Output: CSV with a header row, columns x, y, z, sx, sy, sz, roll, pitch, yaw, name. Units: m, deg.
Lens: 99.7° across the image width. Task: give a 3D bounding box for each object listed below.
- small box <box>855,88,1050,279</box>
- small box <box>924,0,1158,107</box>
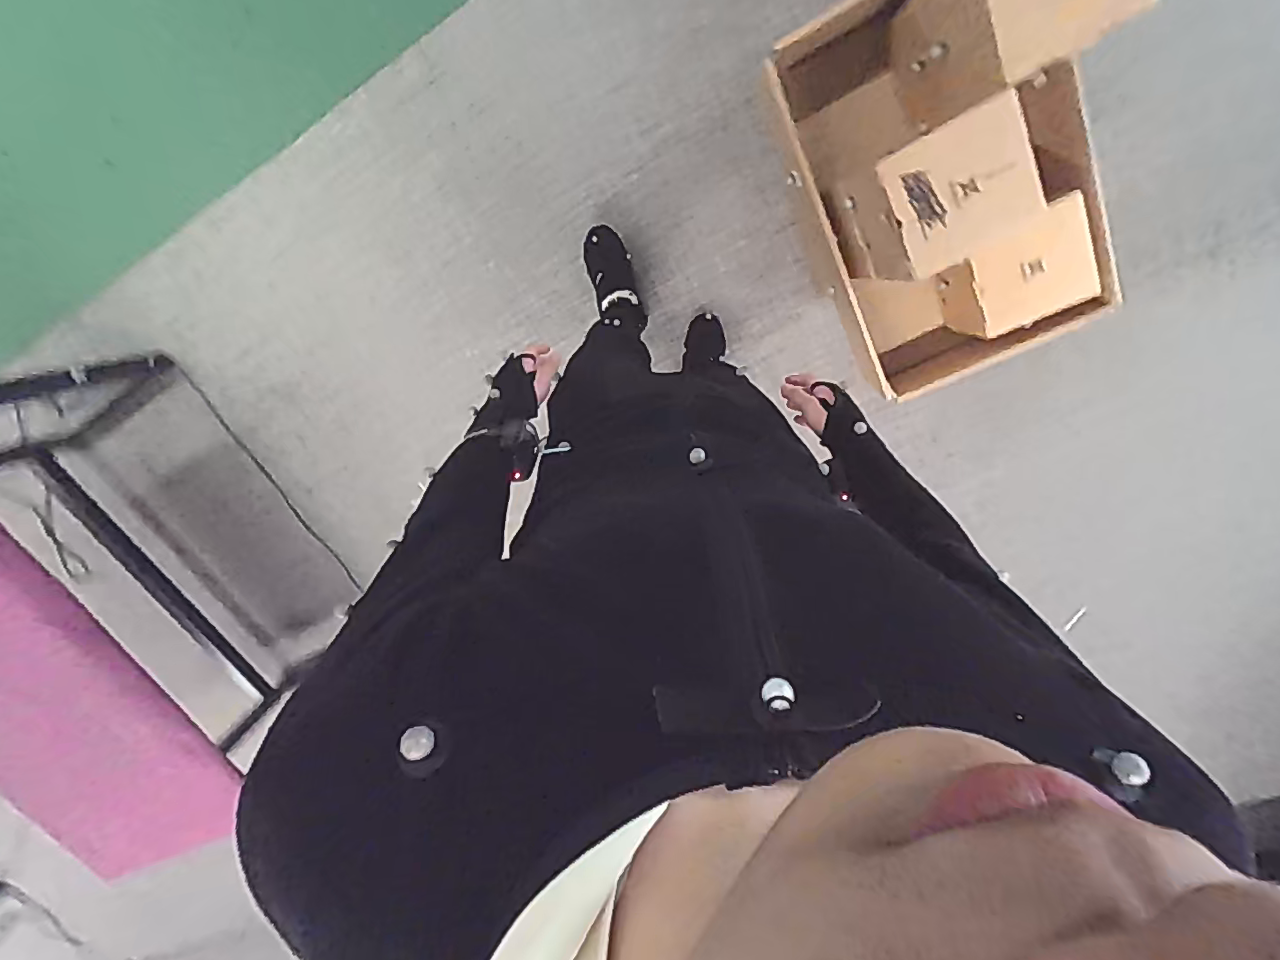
x,y,z,sx,sy,sz,roll,pitch,yaw,name
0.428,-0.403,0.773,0.179,0.176,0.168,-25,108,13,small box
0.493,-0.611,0.687,0.168,0.176,0.179,-23,109,14,small box
